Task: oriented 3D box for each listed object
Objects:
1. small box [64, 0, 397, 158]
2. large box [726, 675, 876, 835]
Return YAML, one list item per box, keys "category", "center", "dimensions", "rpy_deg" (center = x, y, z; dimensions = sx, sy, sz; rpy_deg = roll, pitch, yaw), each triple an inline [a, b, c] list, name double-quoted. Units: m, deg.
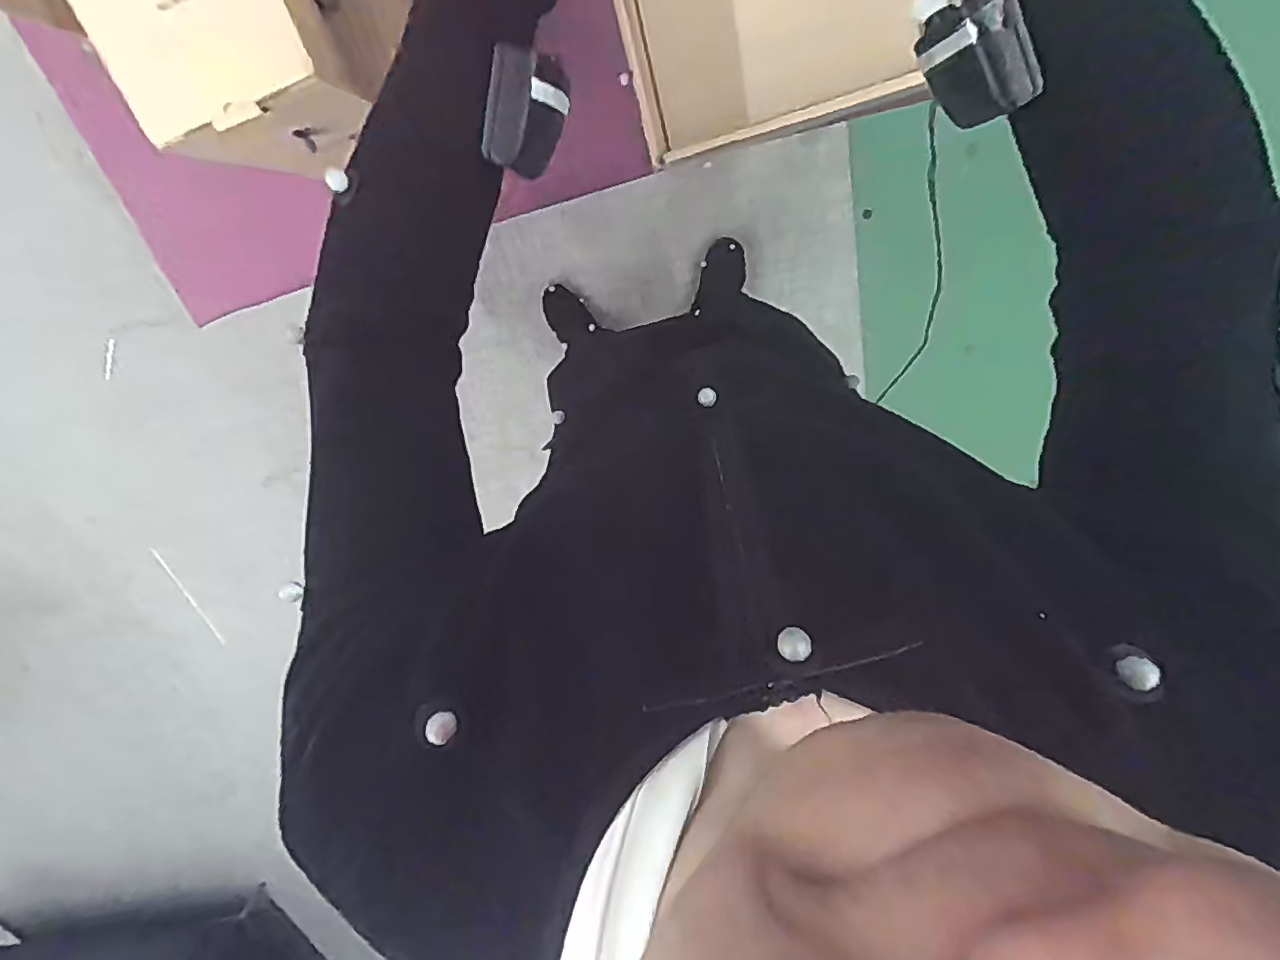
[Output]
- category: "small box"
  center: [-0.353, -0.406, 0.479]
  dimensions: [0.168, 0.176, 0.179]
  rpy_deg: [-14, 113, 9]
- category: "large box"
  center: [0.580, 1.023, 2.022]
  dimensions: [0.320, 0.320, 0.408]
  rpy_deg: [41, 110, -16]
